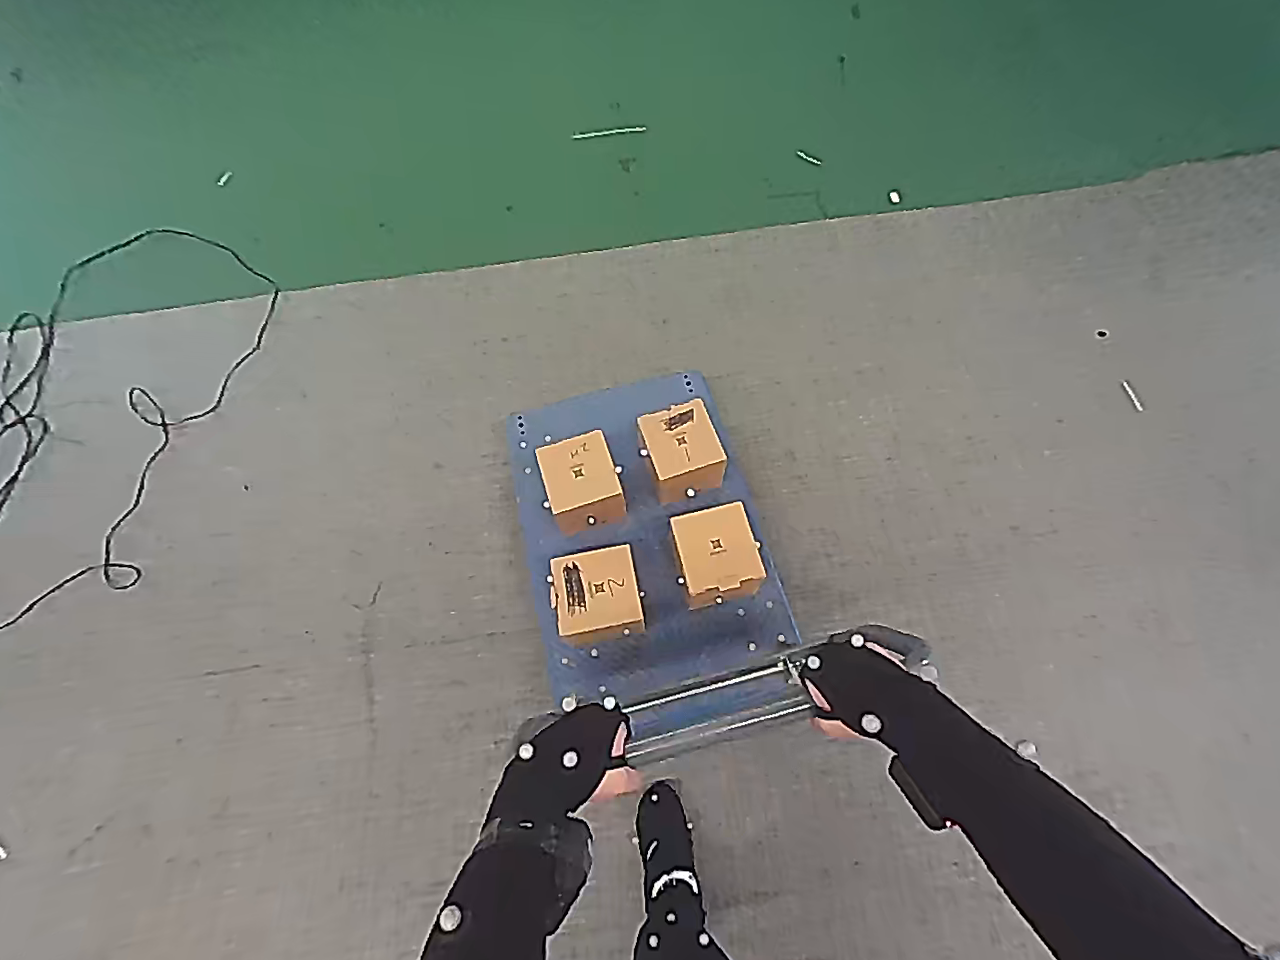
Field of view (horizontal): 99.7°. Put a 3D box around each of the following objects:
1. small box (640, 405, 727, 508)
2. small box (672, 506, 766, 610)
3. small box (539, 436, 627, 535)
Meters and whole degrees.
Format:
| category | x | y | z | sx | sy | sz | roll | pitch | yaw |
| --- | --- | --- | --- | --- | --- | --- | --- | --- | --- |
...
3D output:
| category | x | y | z | sx | sy | sz | roll | pitch | yaw |
| --- | --- | --- | --- | --- | --- | --- | --- | --- | --- |
| small box | 0.104 | -0.054 | 1.356 | 0.168 | 0.176 | 0.179 | -18 | 67 | -4 |
| small box | 0.173 | 0.184 | 1.247 | 0.168 | 0.176 | 0.179 | -14 | 66 | -3 |
| small box | -0.134 | 0.024 | 1.334 | 0.168 | 0.176 | 0.179 | -17 | 66 | -6 |
